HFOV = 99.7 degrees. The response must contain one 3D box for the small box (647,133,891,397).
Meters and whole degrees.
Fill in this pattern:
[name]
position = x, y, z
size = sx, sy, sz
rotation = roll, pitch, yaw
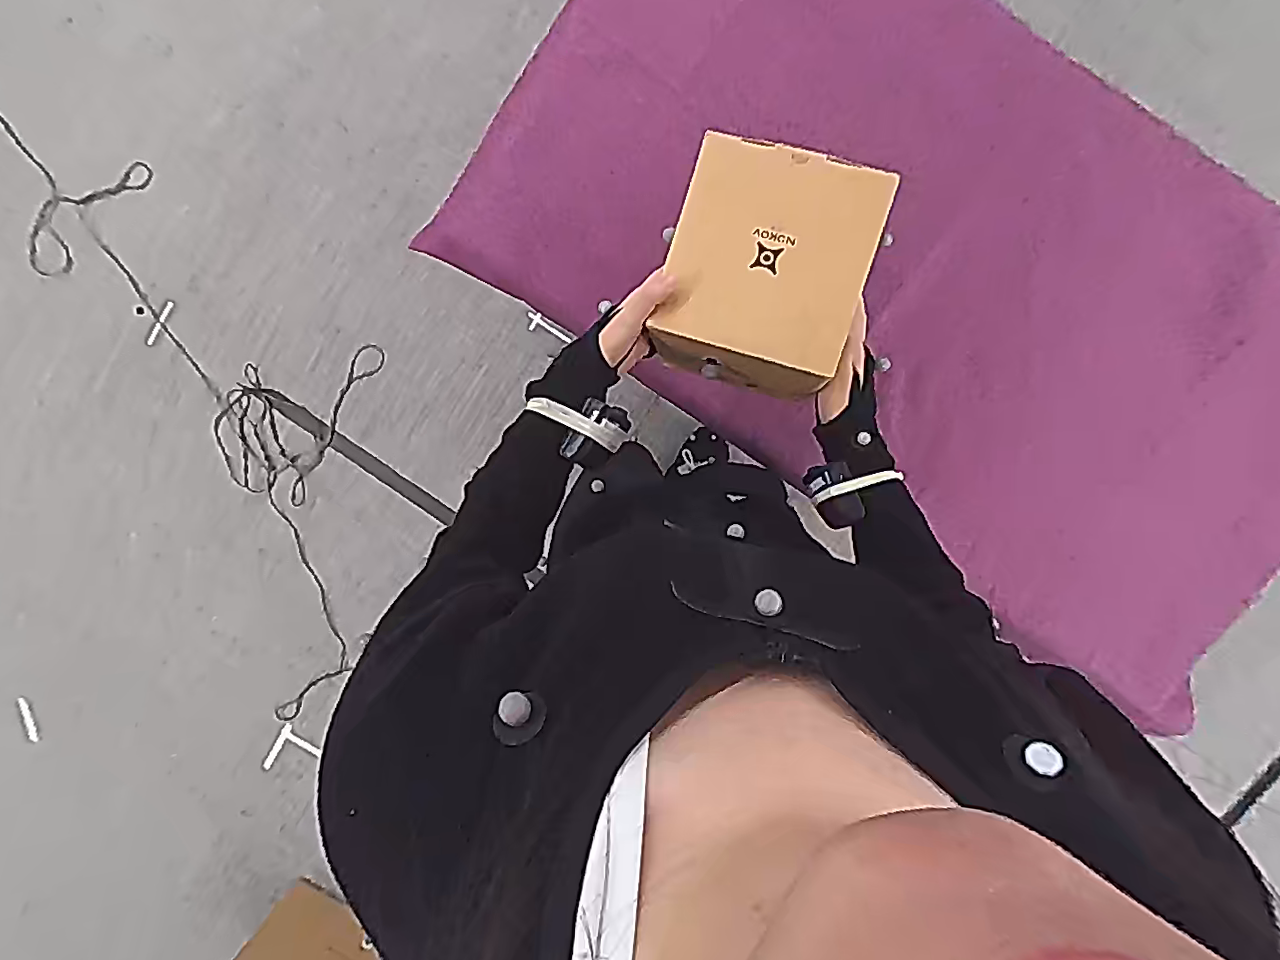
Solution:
[small box]
position = 0.118, -0.193, 0.539
size = 0.168, 0.176, 0.179
rotation = 18, 91, 7
